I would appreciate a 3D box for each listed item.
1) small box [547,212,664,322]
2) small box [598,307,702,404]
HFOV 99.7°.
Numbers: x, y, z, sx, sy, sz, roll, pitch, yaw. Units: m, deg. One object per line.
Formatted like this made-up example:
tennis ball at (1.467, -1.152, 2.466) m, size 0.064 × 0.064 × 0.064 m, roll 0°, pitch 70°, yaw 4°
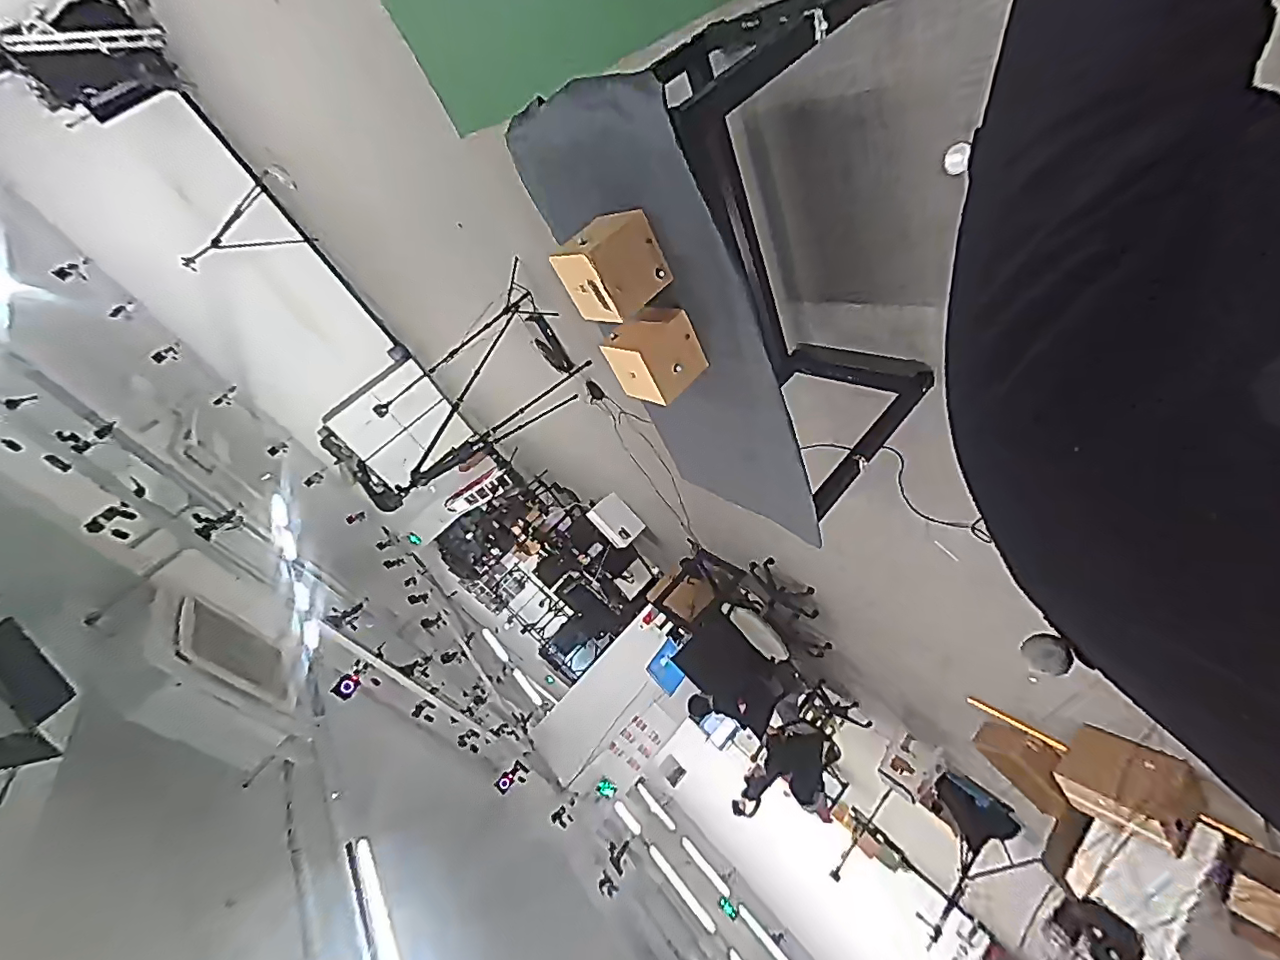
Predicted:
small box at (-0.068, -0.476, 1.209) m, size 0.179 × 0.176 × 0.168 m, roll 26°, pitch 156°, yaw 50°
small box at (0.035, -0.318, 1.358) m, size 0.179 × 0.176 × 0.168 m, roll 26°, pitch 156°, yaw 50°
